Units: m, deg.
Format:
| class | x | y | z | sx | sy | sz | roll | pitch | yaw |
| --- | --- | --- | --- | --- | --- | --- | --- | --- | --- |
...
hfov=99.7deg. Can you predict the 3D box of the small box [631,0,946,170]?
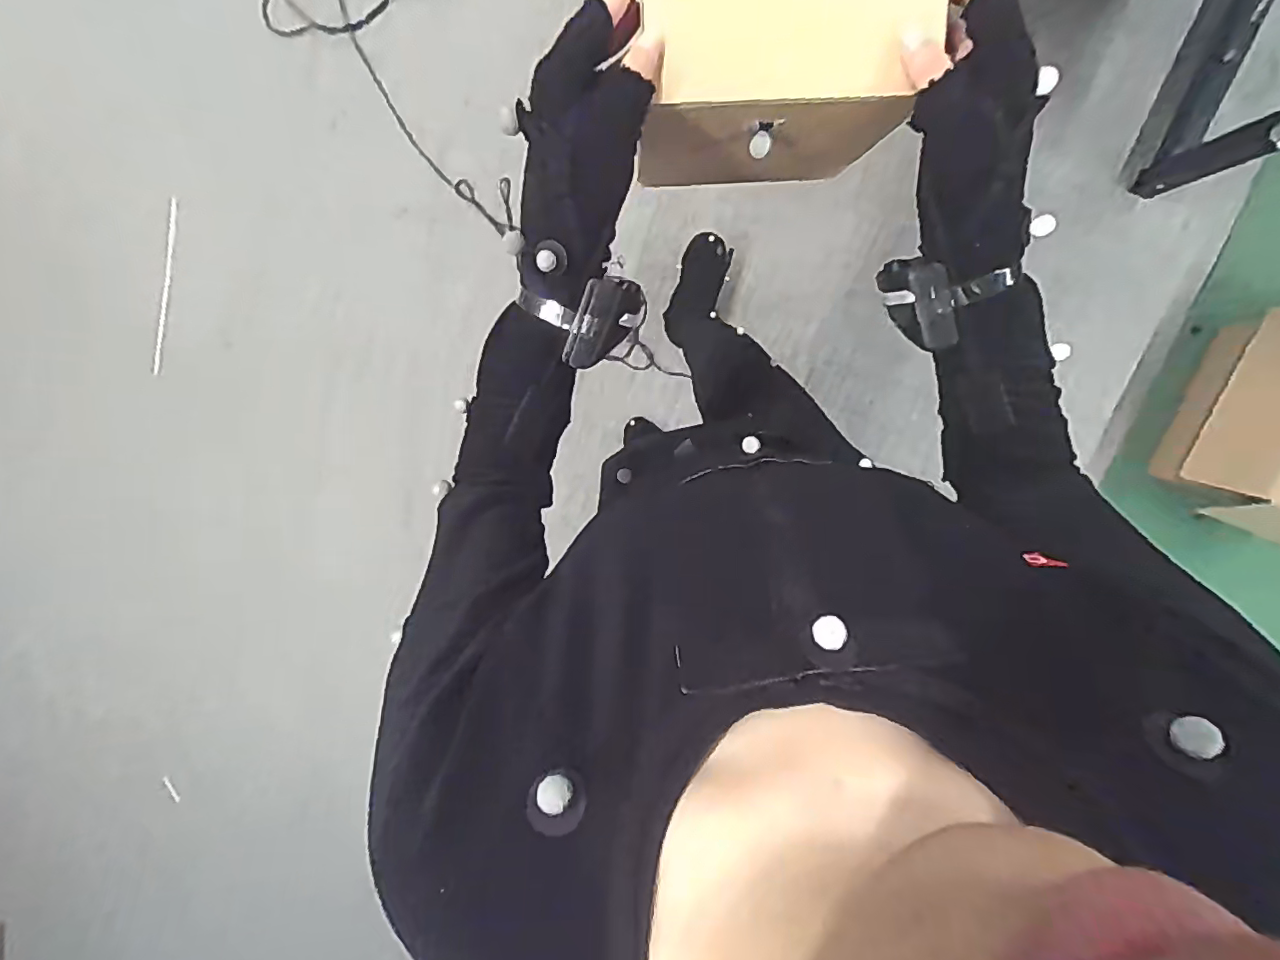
| class | x | y | z | sx | sy | sz | roll | pitch | yaw |
| --- | --- | --- | --- | --- | --- | --- | --- | --- | --- |
| small box | 0.082 | -0.326 | 0.366 | 0.179 | 0.176 | 0.168 | -2 | 105 | 1 |
